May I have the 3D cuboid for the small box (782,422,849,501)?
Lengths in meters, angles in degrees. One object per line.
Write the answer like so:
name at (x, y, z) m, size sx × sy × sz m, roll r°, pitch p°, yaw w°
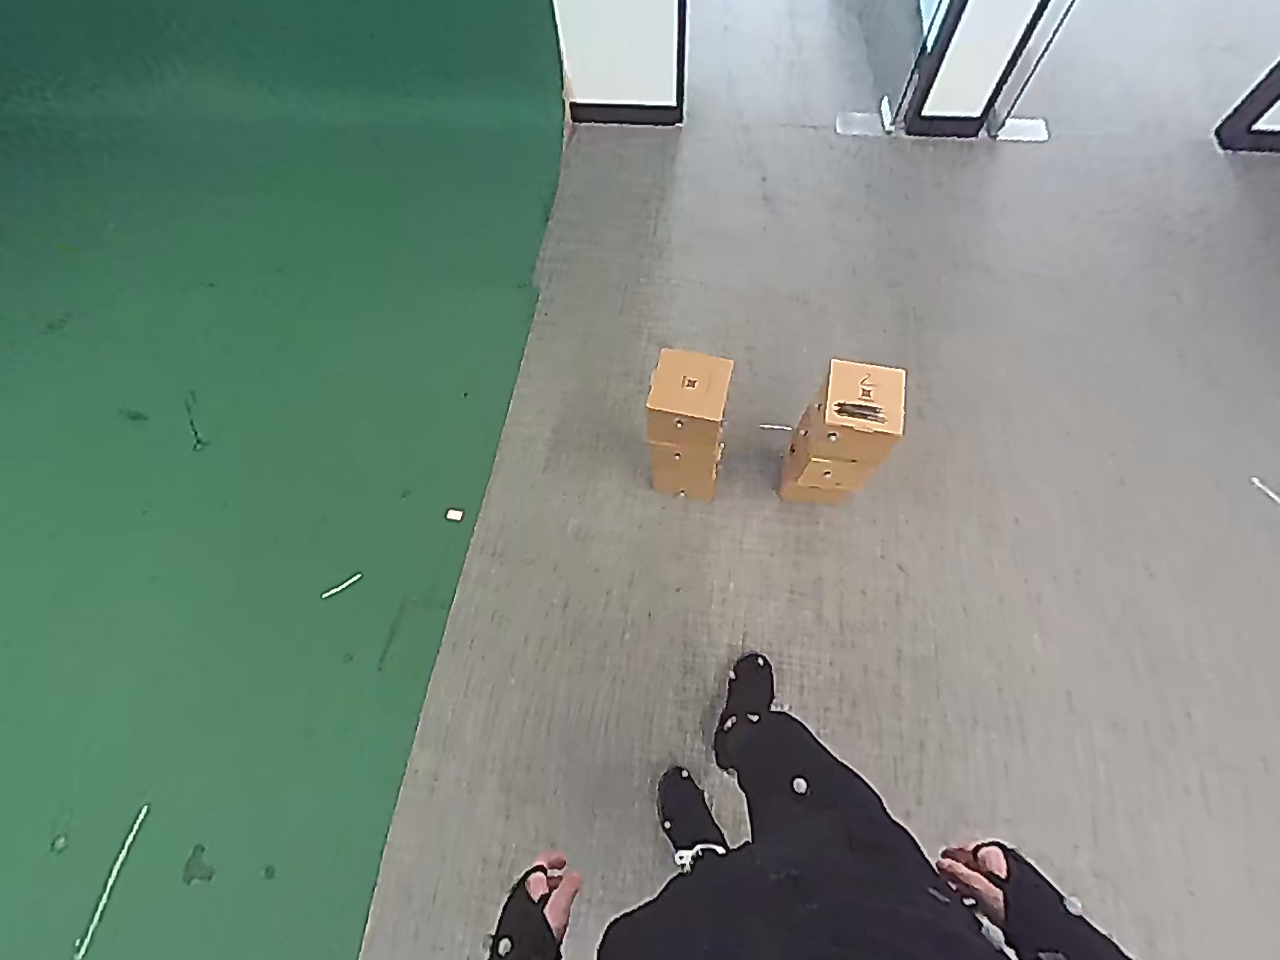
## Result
small box at (0.516, -0.048, 1.572) m, size 0.179 × 0.176 × 0.168 m, roll 8°, pitch 68°, yaw 6°

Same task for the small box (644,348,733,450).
small box at (0.116, -0.189, 1.301) m, size 0.179 × 0.176 × 0.168 m, roll 12°, pitch 69°, yaw 8°

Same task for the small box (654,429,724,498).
small box at (0.143, -0.057, 1.600) m, size 0.179 × 0.176 × 0.168 m, roll 9°, pitch 68°, yaw 7°

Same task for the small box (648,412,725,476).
small box at (0.127, -0.124, 1.450) m, size 0.179 × 0.176 × 0.168 m, roll 10°, pitch 68°, yaw 7°

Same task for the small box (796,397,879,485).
small box at (0.511, -0.097, 1.416) m, size 0.168 × 0.176 × 0.179 m, roll 4°, pitch 67°, yaw 5°
